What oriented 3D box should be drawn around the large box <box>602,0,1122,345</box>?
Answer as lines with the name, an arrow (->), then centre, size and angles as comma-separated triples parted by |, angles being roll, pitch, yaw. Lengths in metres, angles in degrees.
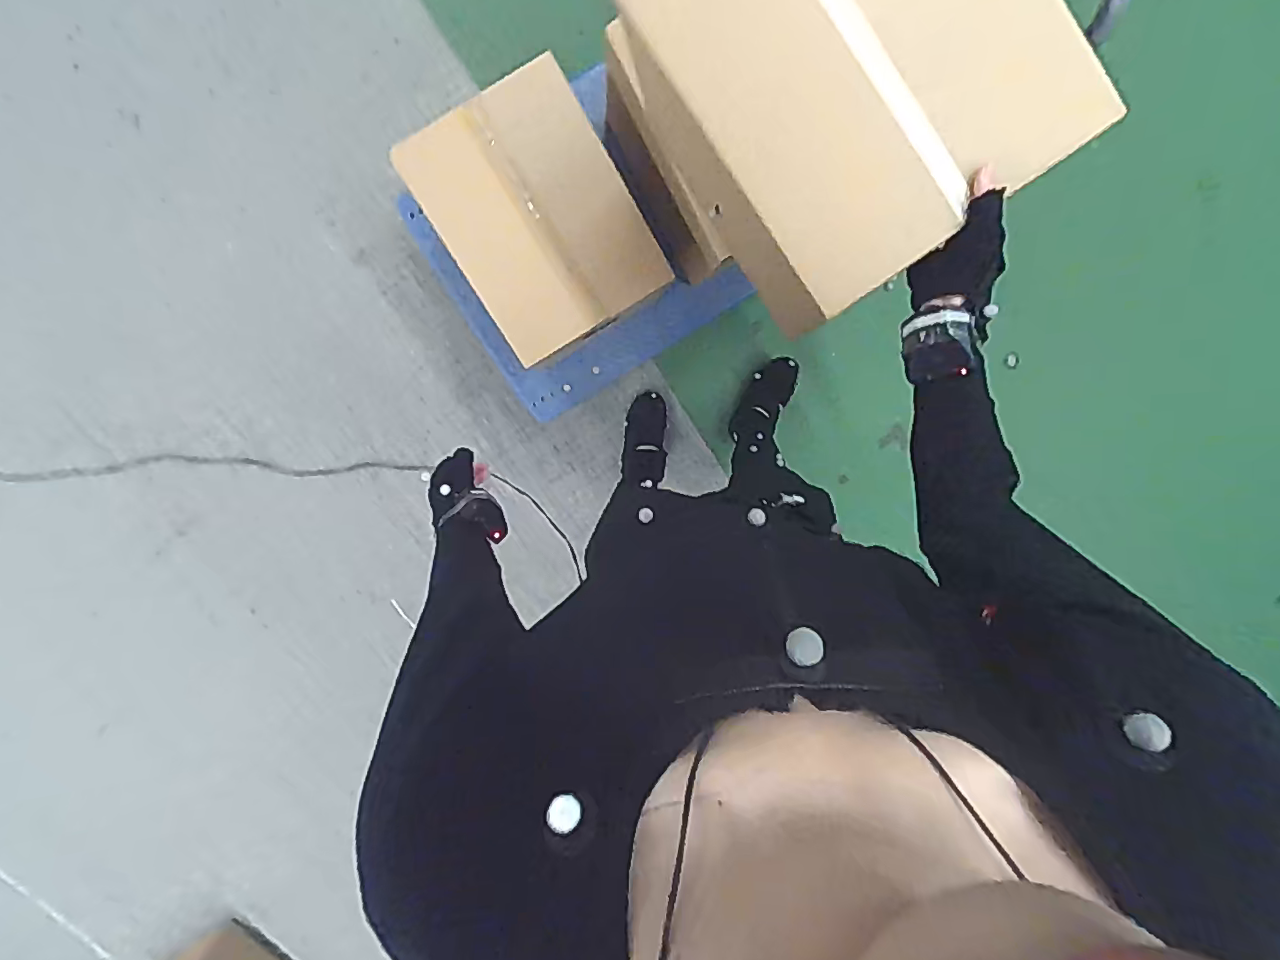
large box -> 0.224, -0.424, 0.655 | 0.320, 0.320, 0.408 | -35, 92, 13
